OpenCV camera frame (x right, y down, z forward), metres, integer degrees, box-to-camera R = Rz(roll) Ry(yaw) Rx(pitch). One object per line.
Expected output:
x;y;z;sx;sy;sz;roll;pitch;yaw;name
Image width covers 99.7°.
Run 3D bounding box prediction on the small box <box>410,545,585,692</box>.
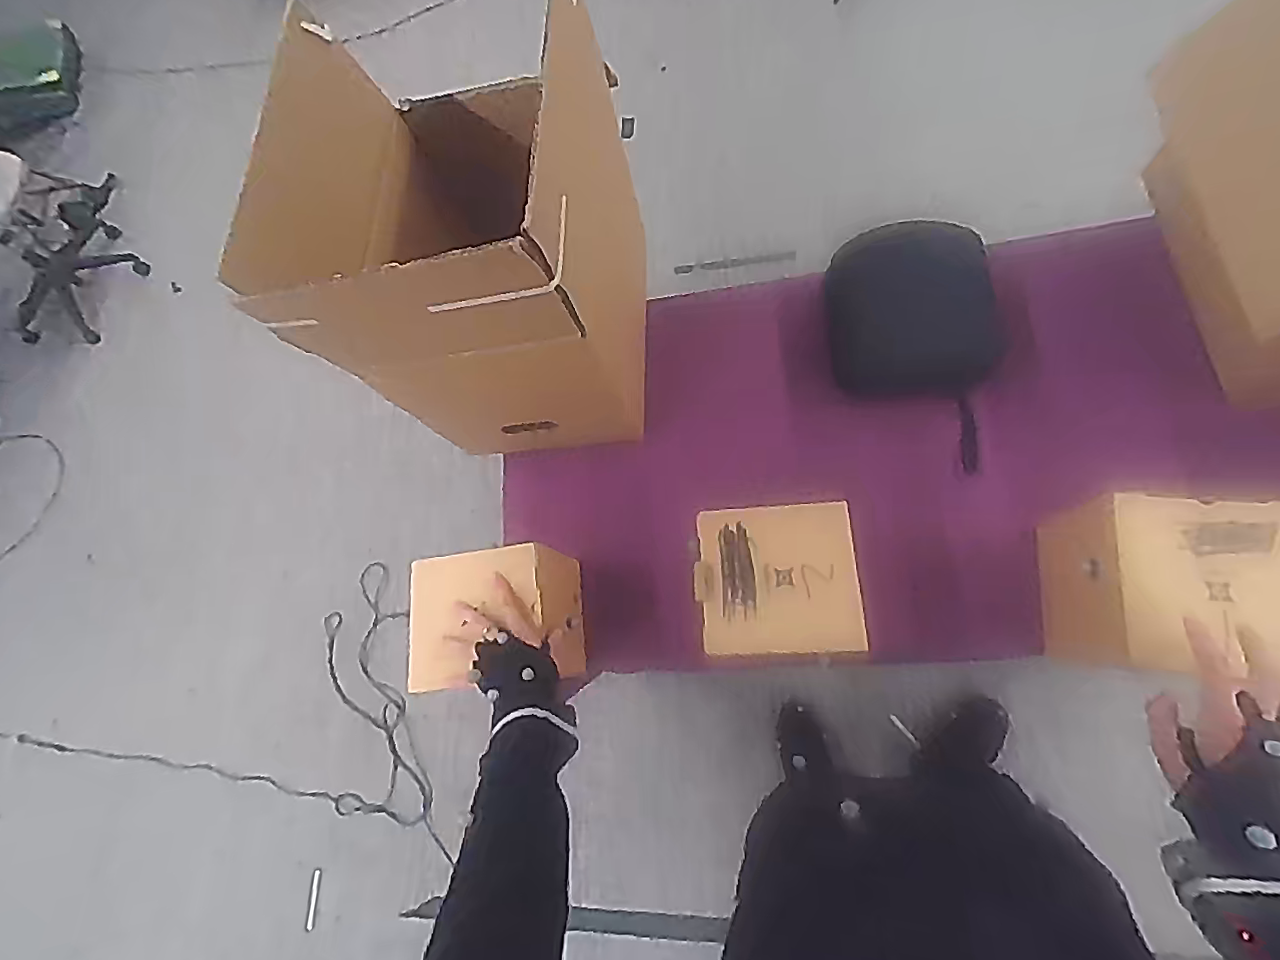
-0.188;0.196;0.746;0.179;0.176;0.168;-9;71;9;small box
